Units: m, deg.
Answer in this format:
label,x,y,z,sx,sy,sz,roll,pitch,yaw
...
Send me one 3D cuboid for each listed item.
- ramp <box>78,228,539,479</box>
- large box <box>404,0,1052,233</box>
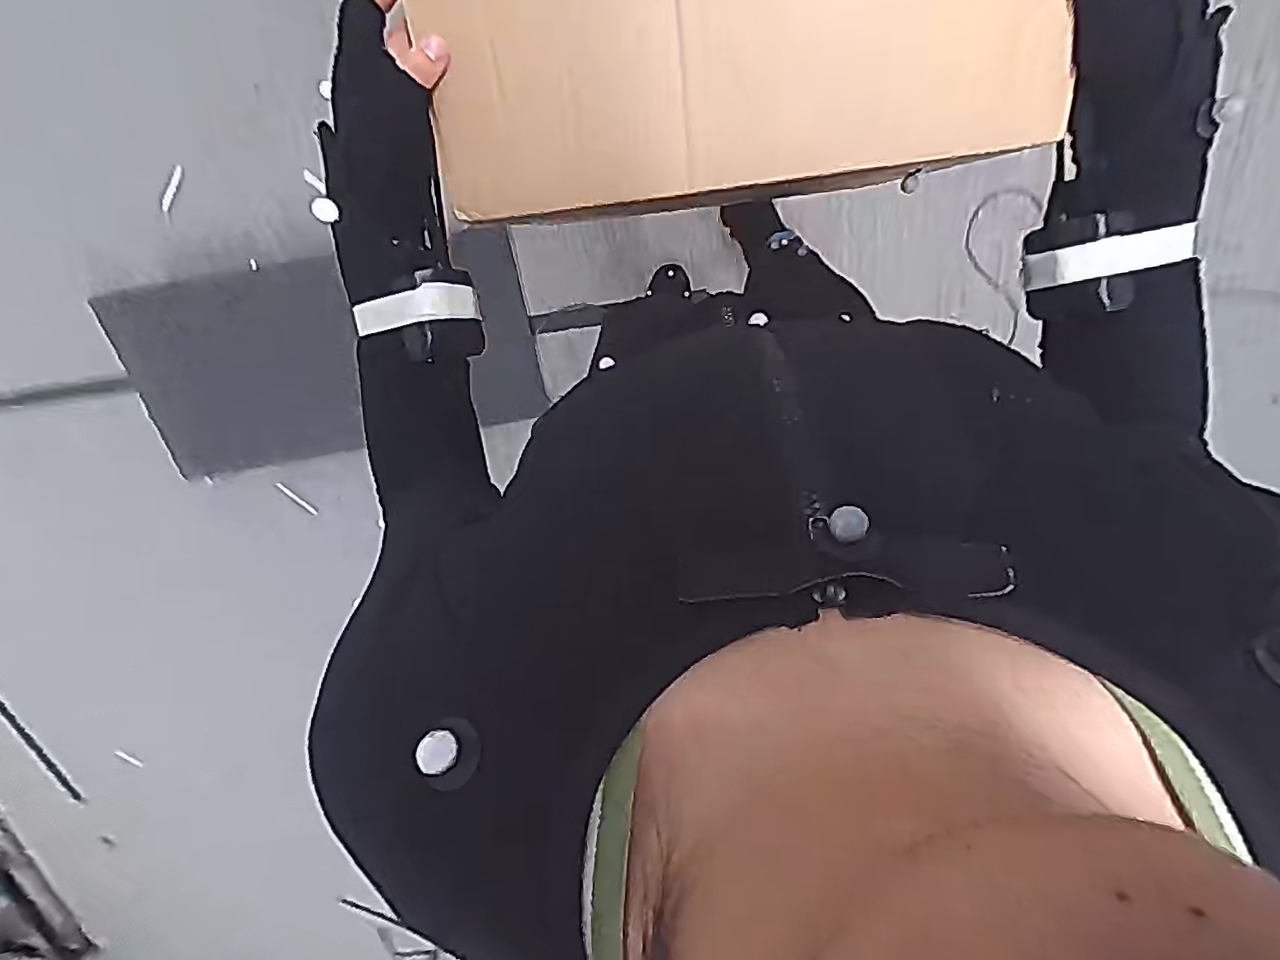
label,x,y,z,sx,sy,sz,roll,pitch,yaw
ramp,-0.802,-0.317,1.392,0.991,0.206,0.509,-8,112,7
large box,0.051,-0.405,0.449,0.408,0.320,0.320,-6,114,5
